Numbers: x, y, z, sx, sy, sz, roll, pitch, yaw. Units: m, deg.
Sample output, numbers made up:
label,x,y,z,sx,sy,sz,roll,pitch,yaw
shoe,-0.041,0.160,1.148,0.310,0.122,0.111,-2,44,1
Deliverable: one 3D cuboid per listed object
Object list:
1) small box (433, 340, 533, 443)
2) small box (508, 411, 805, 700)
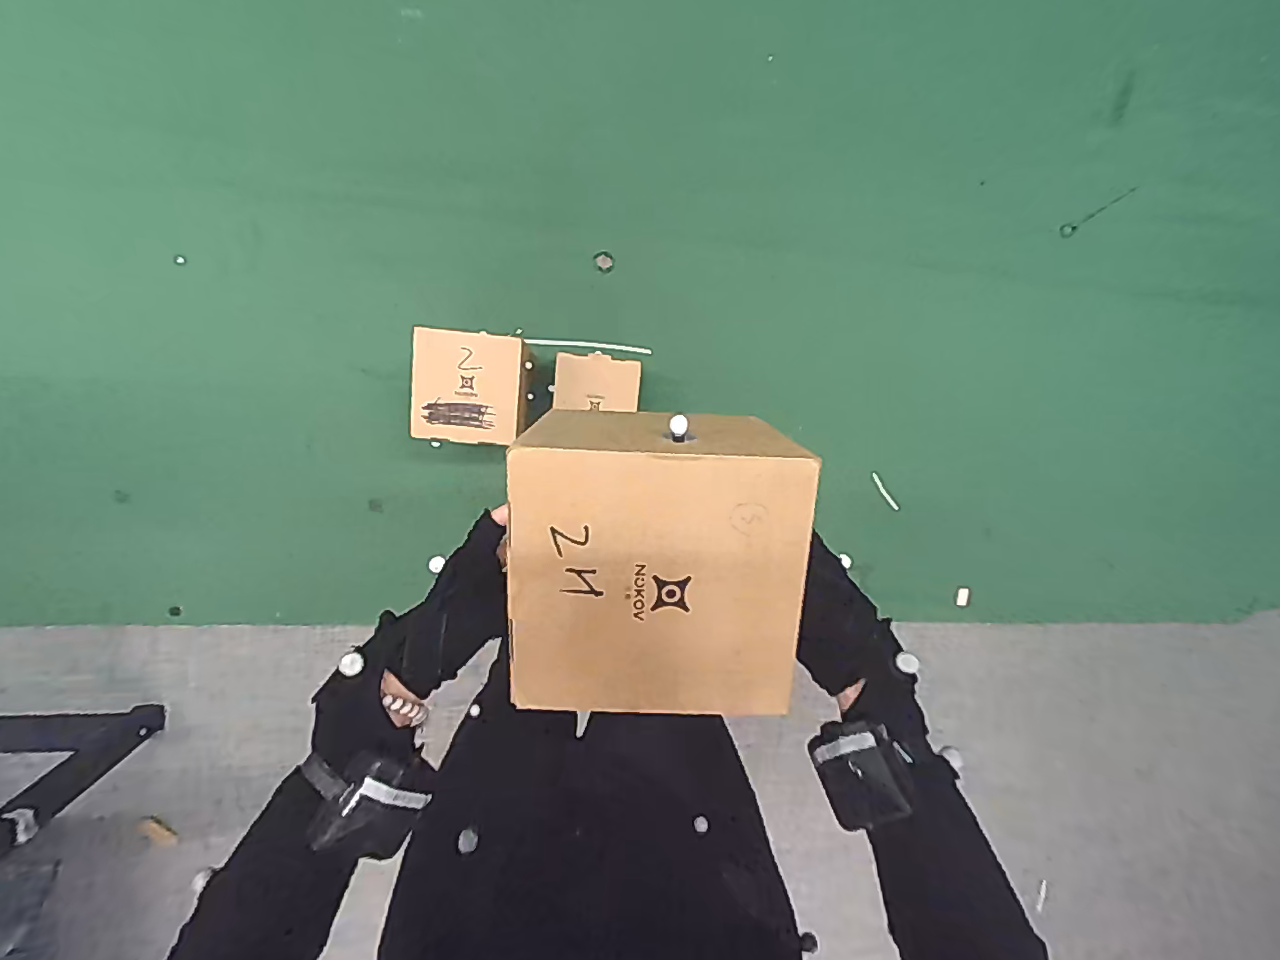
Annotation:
label,x,y,z,sx,sy,sz,roll,pitch,yaw
small box,-0.312,-0.180,1.103,0.168,0.176,0.179,6,99,-8
small box,0.004,0.042,0.408,0.179,0.176,0.168,2,104,-2
